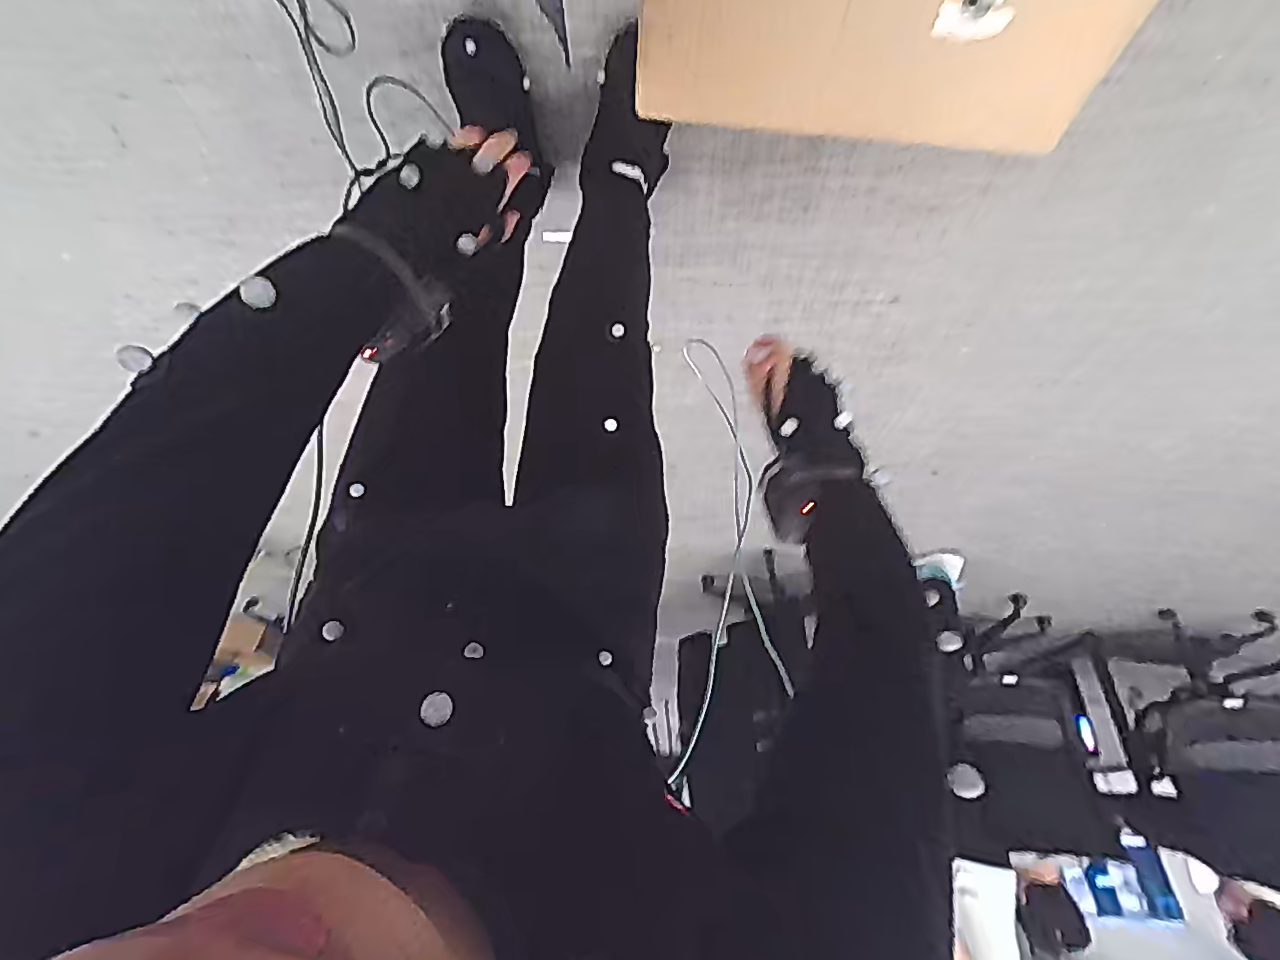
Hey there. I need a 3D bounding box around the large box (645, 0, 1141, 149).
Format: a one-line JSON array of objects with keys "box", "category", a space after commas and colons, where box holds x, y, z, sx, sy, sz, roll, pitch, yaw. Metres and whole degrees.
[{"box": [0.213, -0.545, 0.480, 0.408, 0.320, 0.320, 4, 149, -2], "category": "large box"}]
